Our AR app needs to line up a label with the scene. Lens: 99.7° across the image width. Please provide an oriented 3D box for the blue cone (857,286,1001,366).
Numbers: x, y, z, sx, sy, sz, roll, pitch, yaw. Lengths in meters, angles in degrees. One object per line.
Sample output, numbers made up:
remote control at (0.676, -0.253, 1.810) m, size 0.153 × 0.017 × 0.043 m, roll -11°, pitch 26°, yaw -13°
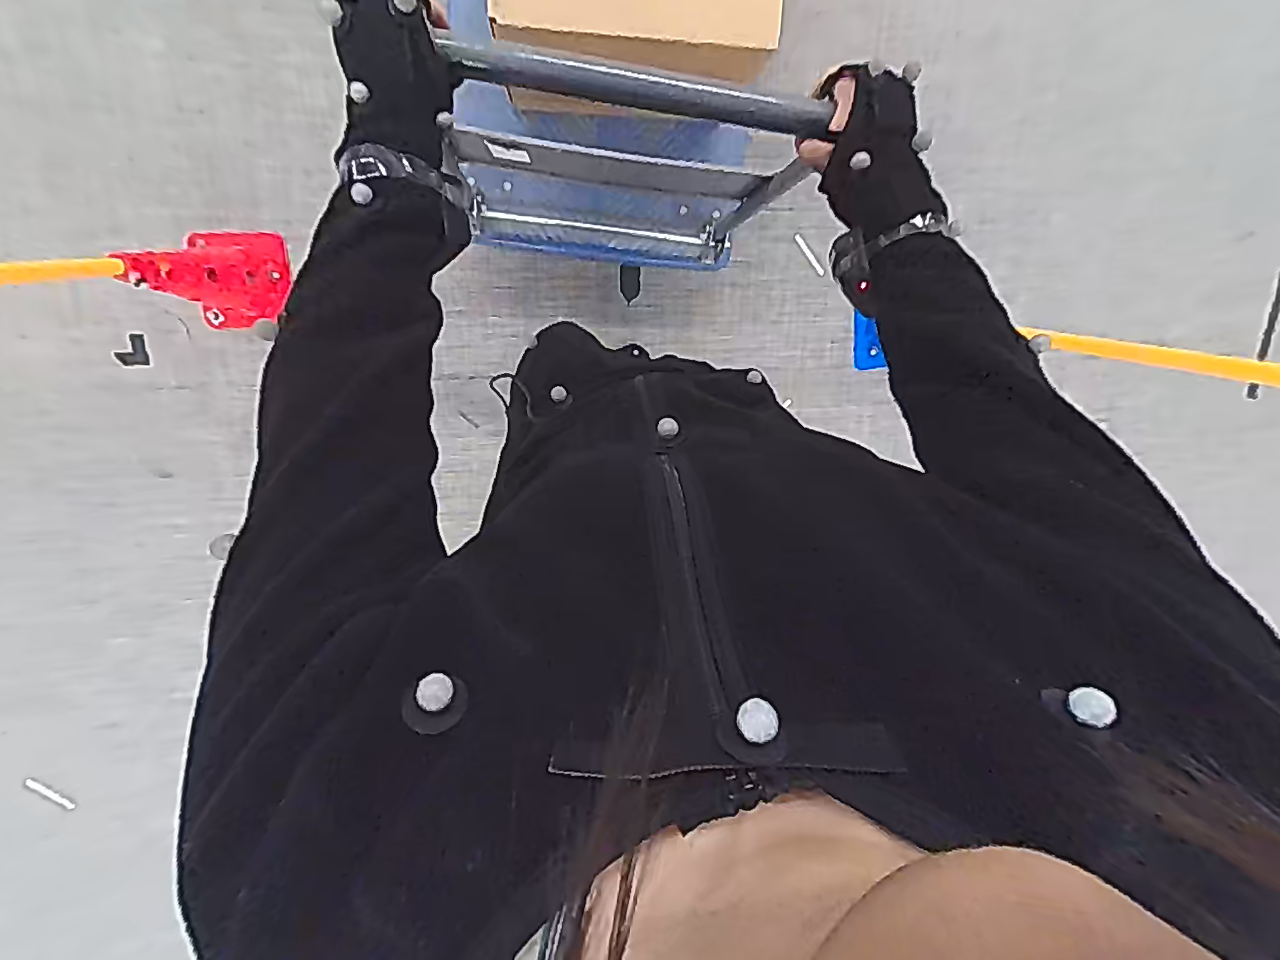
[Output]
blue cone at (0.674, -0.355, 1.243) m, size 0.193 × 0.380 × 0.192 m, roll -7°, pitch 106°, yaw -6°
